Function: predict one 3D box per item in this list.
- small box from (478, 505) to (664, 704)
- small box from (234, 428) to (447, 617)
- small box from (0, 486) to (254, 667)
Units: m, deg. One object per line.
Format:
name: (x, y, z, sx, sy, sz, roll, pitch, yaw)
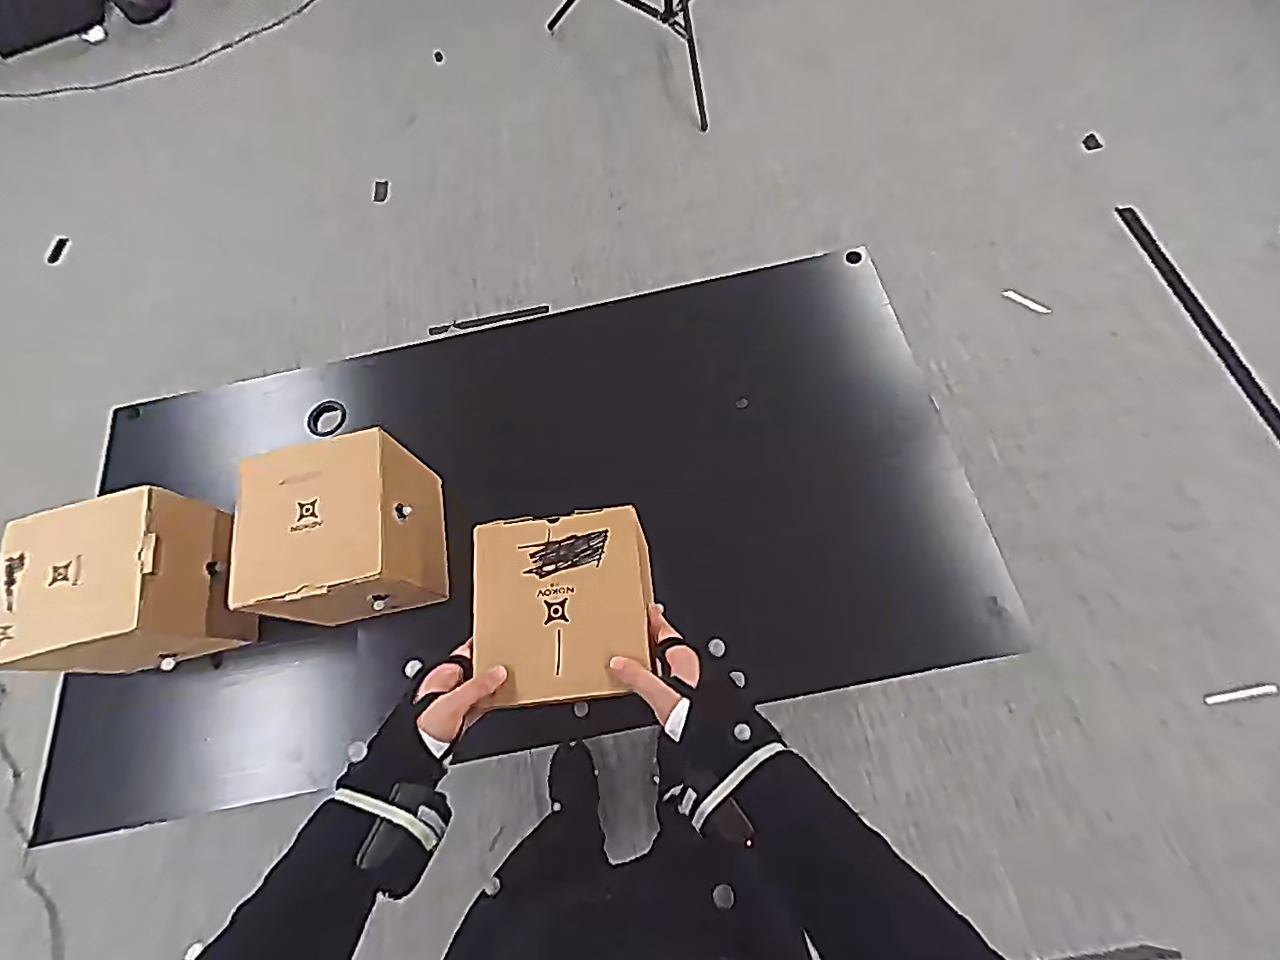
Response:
small box: (-0.066, 0.143, 0.590, 0.168, 0.176, 0.179, -8, 69, 3)
small box: (-0.348, 0.063, 0.660, 0.168, 0.176, 0.179, -12, 68, 0)
small box: (-0.603, 0.125, 0.660, 0.179, 0.176, 0.168, -14, 68, -1)
